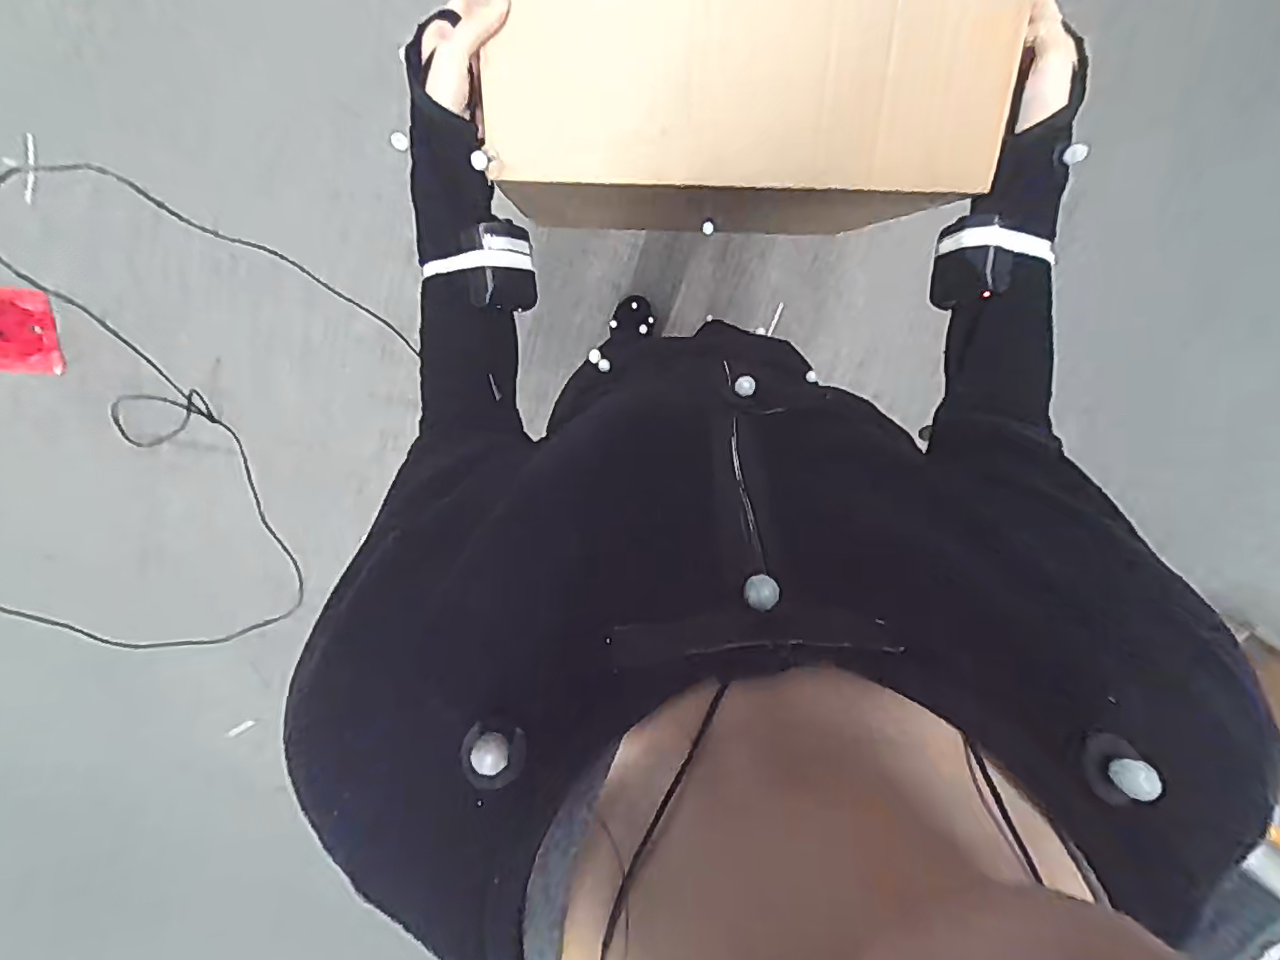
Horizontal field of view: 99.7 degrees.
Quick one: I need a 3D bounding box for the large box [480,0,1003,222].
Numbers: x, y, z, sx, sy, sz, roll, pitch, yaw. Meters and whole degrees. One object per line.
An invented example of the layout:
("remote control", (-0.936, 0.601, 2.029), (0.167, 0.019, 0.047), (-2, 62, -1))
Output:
("large box", (0.074, -0.439, 0.533), (0.408, 0.320, 0.320), (-1, 108, -2))
